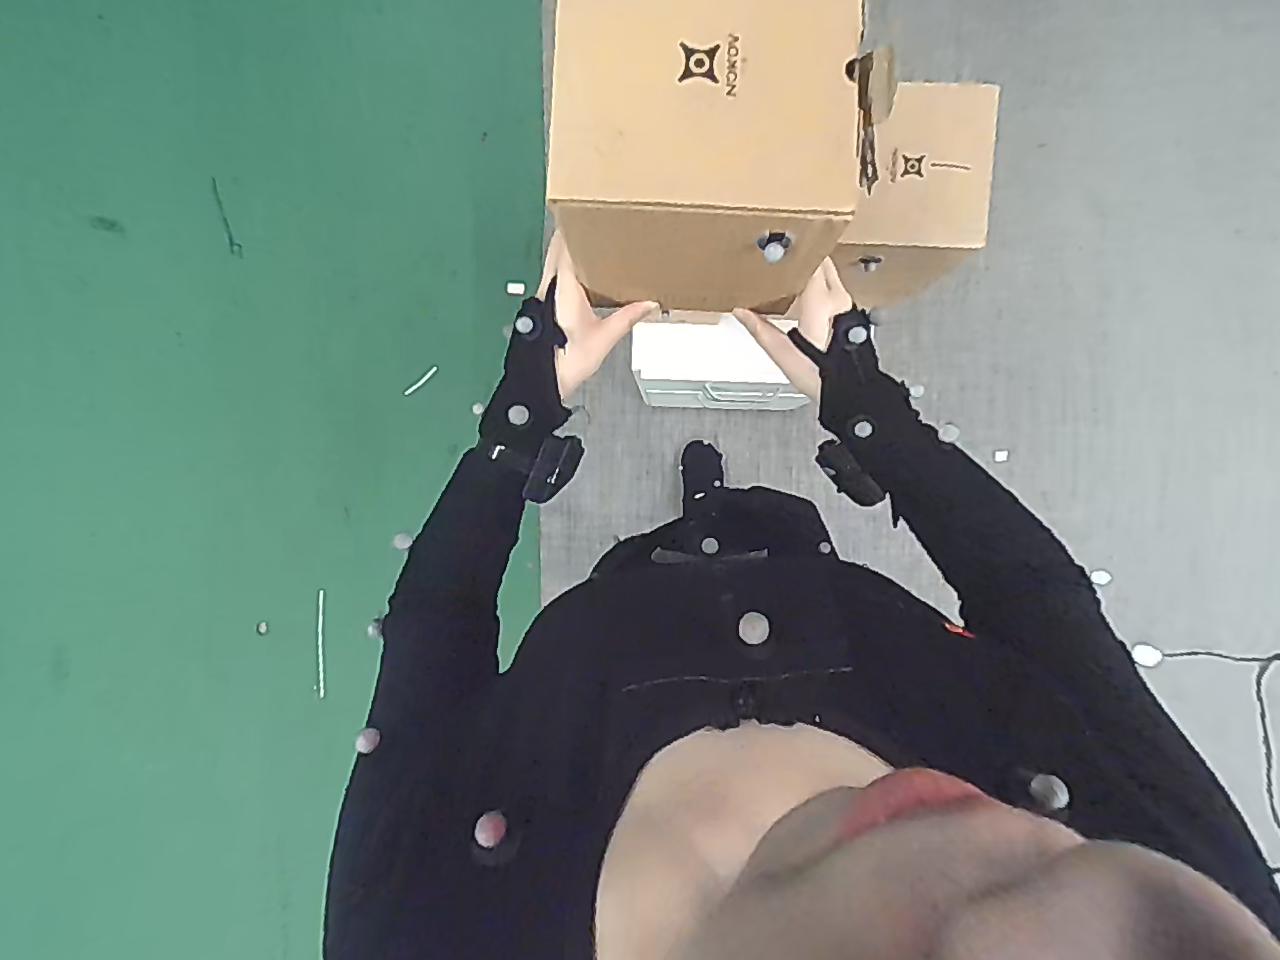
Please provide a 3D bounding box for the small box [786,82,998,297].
[{"bbox_3d":[0.274,-0.322,0.631,0.179,0.176,0.168,4,92,4],"label":"small box"}]

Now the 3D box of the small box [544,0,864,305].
[{"bbox_3d":[0.038,-0.235,0.383,0.179,0.176,0.168,3,88,0],"label":"small box"}]

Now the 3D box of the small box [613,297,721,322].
[{"bbox_3d":[0.046,-0.342,0.806,0.168,0.176,0.179,3,92,1],"label":"small box"}]
